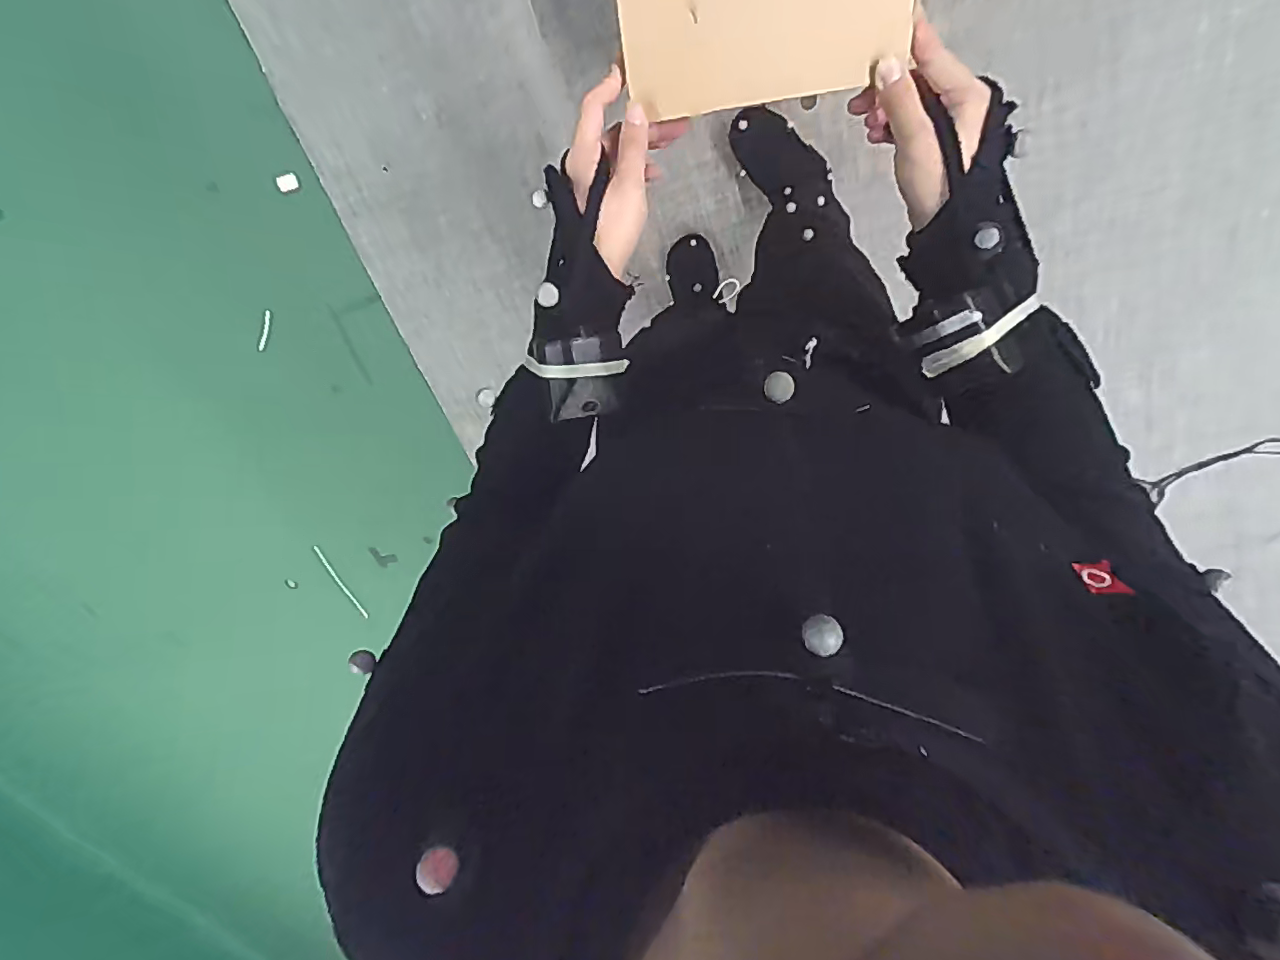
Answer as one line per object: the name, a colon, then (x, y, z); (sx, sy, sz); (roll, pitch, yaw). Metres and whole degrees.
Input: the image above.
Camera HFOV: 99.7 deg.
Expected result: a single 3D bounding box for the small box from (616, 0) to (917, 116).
small box: (0.071, -0.359, 0.356); (0.179, 0.176, 0.168); (-6, 127, 9)
